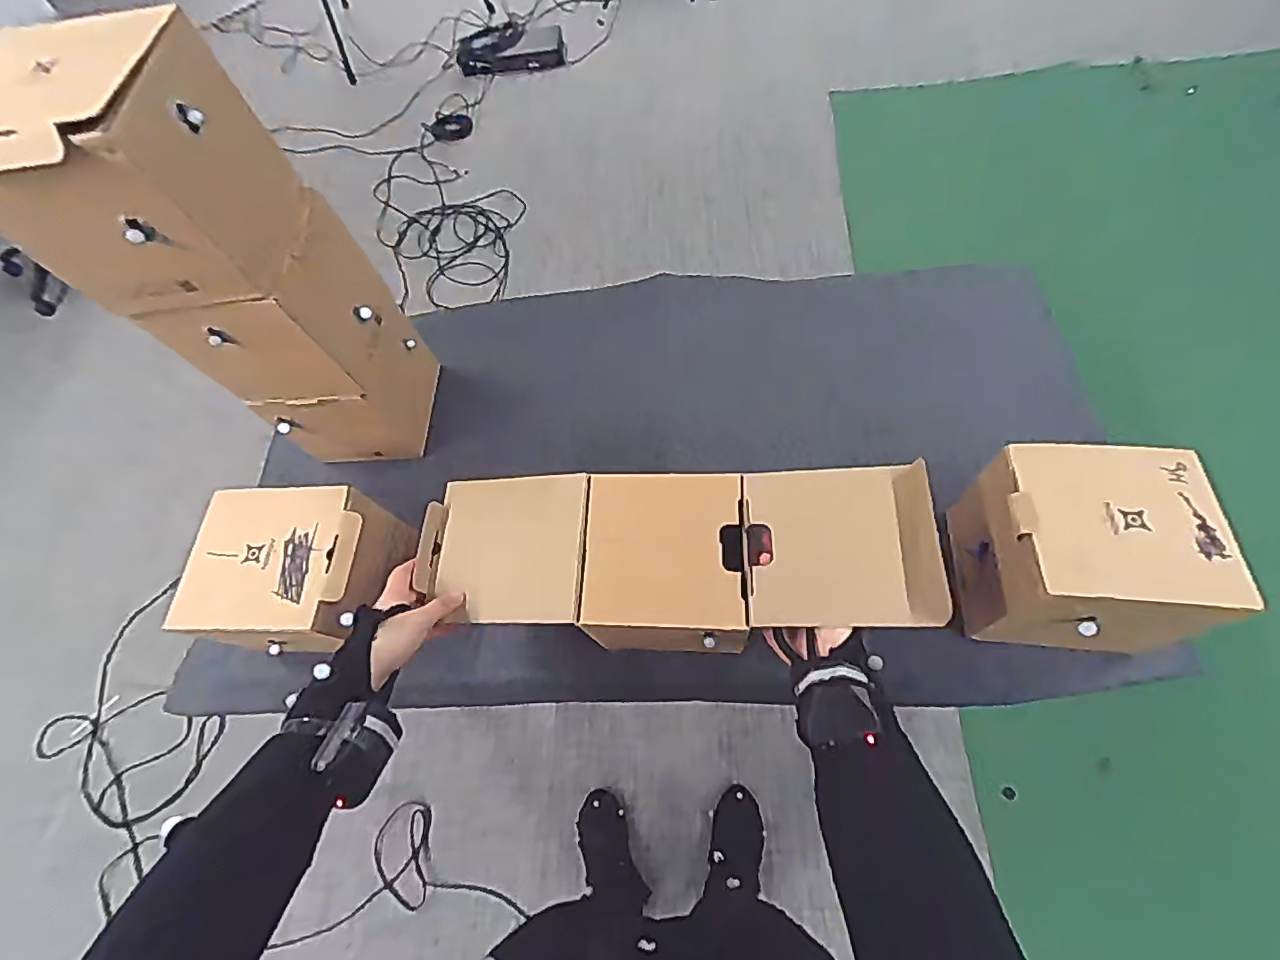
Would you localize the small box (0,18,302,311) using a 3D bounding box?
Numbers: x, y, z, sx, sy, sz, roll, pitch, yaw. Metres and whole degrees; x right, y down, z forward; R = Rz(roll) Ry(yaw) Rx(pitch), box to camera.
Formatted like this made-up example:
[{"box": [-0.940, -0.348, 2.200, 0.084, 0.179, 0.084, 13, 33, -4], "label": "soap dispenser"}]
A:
[{"box": [-0.454, -0.275, 0.502, 0.168, 0.176, 0.179, -5, 63, 3], "label": "small box"}]

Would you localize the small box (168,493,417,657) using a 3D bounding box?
[{"box": [-0.407, 0.123, 0.671, 0.179, 0.176, 0.168, -1, 65, 7], "label": "small box"}]

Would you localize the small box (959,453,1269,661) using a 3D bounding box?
[{"box": [0.464, 0.086, 0.574, 0.179, 0.176, 0.168, 3, 61, 9], "label": "small box"}]

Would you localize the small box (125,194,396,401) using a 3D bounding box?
[{"box": [-0.430, -0.207, 0.647, 0.179, 0.176, 0.168, -2, 66, 6], "label": "small box"}]
